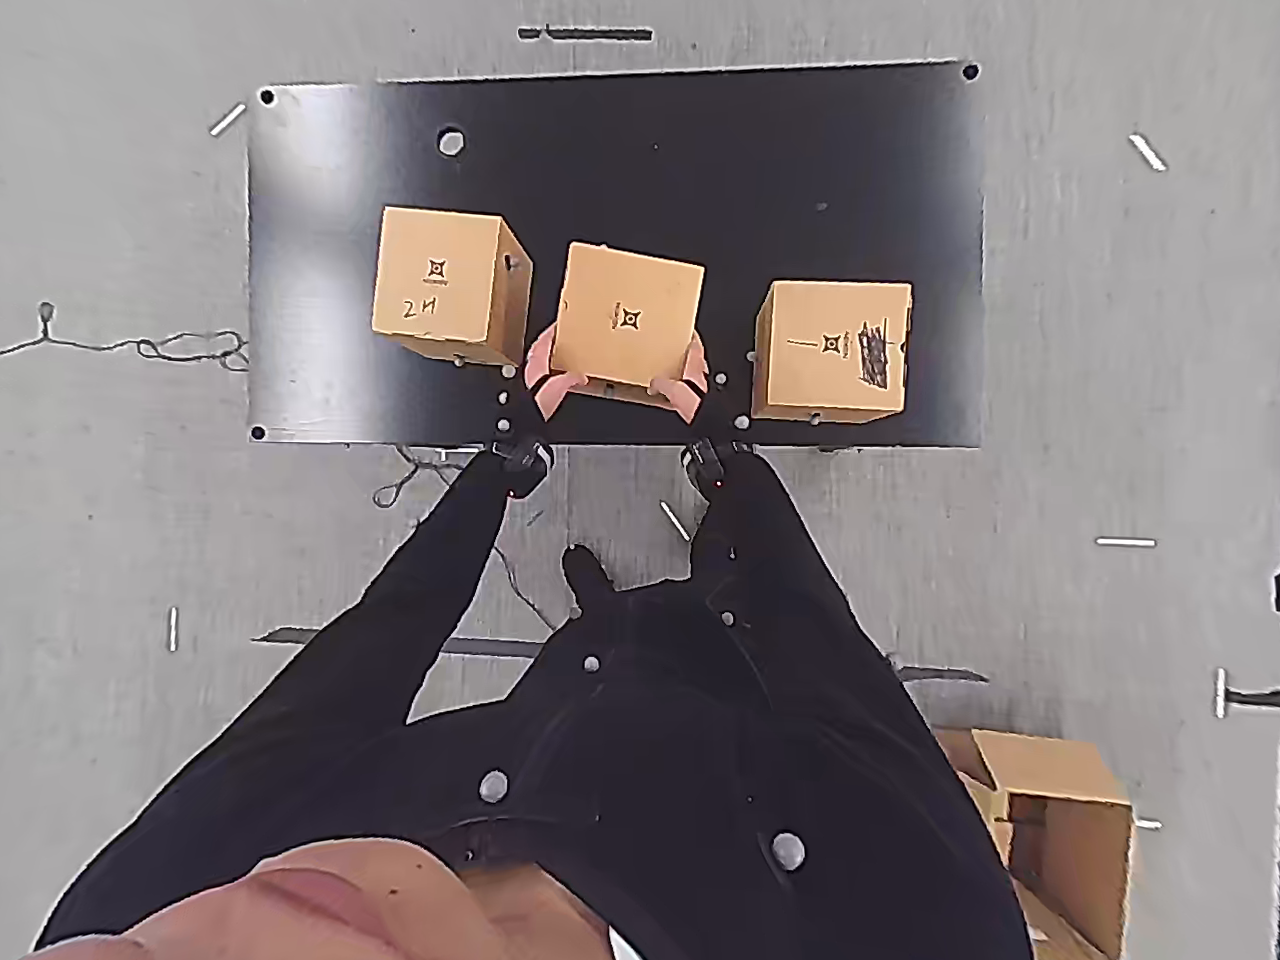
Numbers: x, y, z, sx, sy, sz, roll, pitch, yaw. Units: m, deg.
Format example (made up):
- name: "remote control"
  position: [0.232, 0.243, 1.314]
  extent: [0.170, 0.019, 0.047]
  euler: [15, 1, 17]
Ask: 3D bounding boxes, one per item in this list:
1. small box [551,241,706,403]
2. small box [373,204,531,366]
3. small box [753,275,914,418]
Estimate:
- name: "small box"
  position: [-0.017, -0.207, 0.755]
  extent: [0.179, 0.176, 0.168]
  euler: [9, 91, -2]
- name: "small box"
  position: [-0.269, -0.282, 0.811]
  extent: [0.168, 0.176, 0.179]
  euler: [7, 92, 4]
- name: "small box"
  position: [0.264, -0.181, 0.773]
  extent: [0.179, 0.176, 0.168]
  euler: [3, 91, 5]
